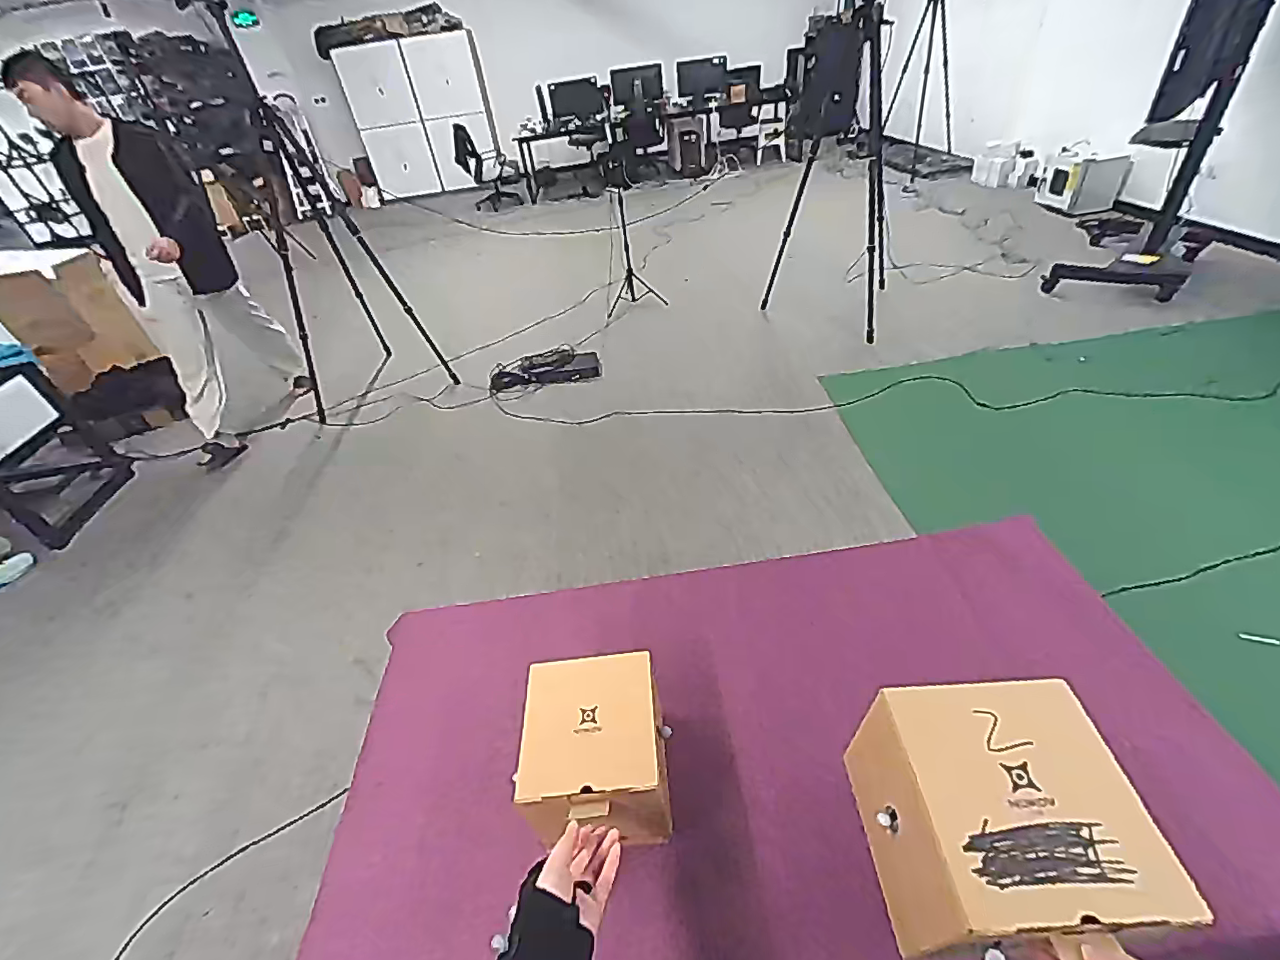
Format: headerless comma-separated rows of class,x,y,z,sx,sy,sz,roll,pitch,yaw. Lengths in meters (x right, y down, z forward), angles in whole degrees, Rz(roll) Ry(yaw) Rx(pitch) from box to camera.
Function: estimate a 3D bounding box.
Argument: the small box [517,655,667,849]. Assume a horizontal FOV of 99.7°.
small box,-0.056,0.366,0.732,0.168,0.176,0.179,-7,40,2
